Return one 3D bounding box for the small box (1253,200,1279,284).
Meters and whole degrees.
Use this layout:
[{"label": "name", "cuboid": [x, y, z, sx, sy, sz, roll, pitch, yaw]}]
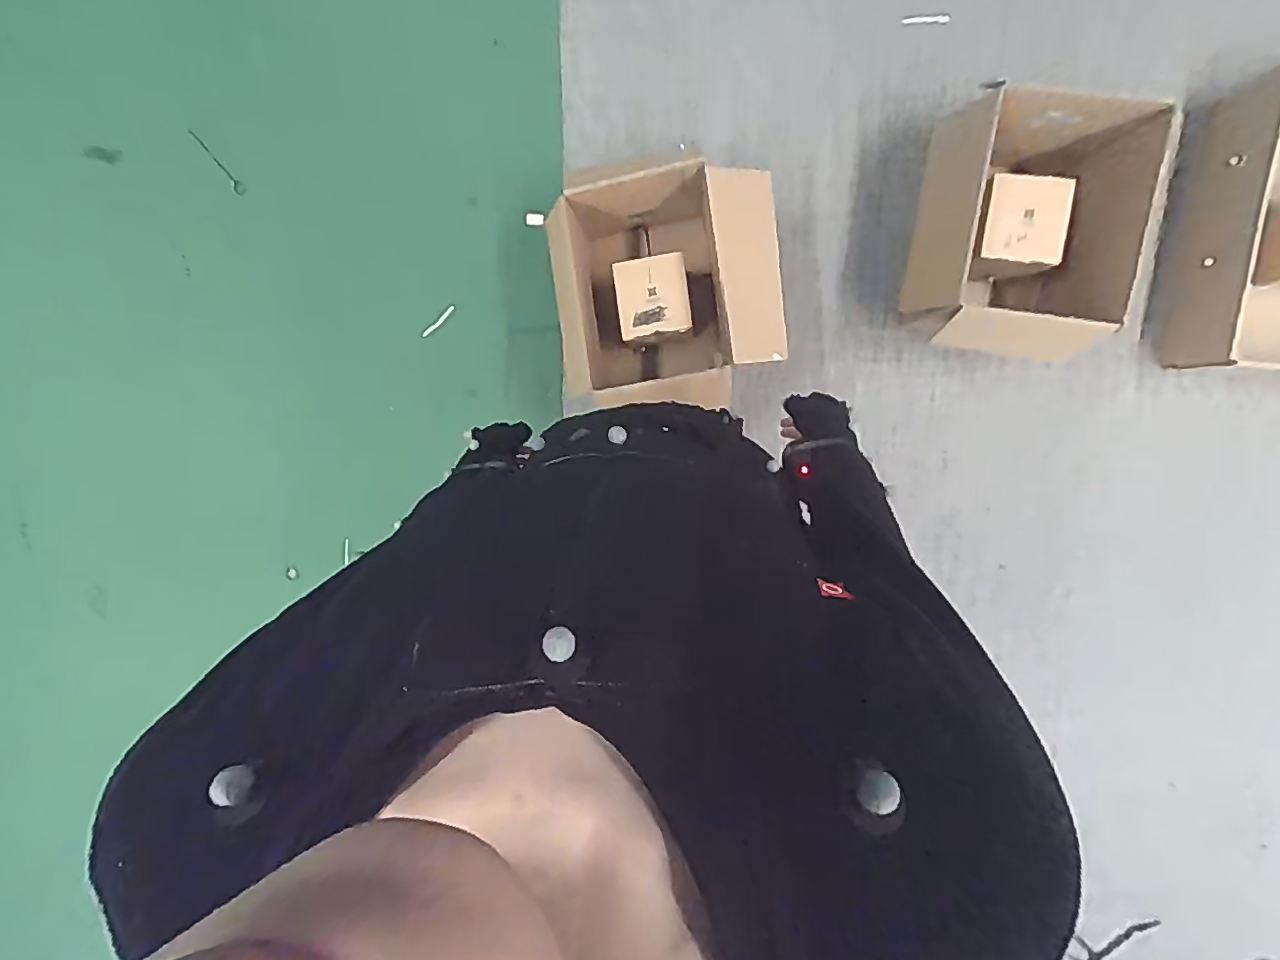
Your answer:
[{"label": "small box", "cuboid": [1.475, -0.526, 1.145, 0.168, 0.176, 0.179, 1, 97, 4]}]
